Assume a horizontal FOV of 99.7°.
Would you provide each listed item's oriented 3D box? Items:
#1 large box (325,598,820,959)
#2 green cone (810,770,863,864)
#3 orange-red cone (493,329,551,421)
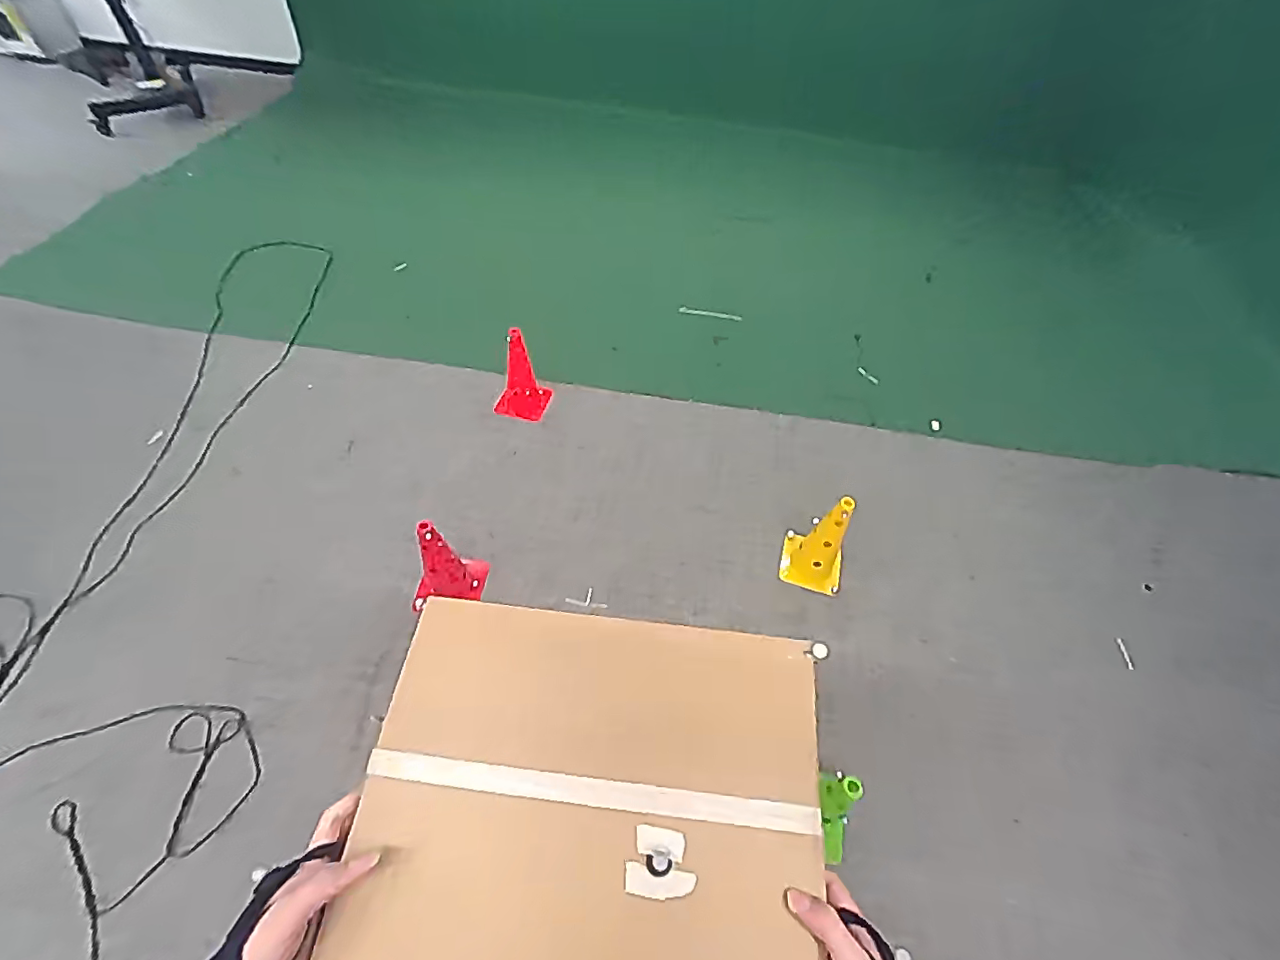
[{"bbox_3d":[-0.044,0.351,0.624,0.408,0.320,0.320,6,60,3],"label":"large box"},{"bbox_3d":[0.440,0.752,1.274,0.200,0.368,0.202,13,51,5],"label":"green cone"},{"bbox_3d":[-0.481,-0.432,2.122,0.199,0.360,0.198,14,51,8],"label":"orange-red cone"}]
